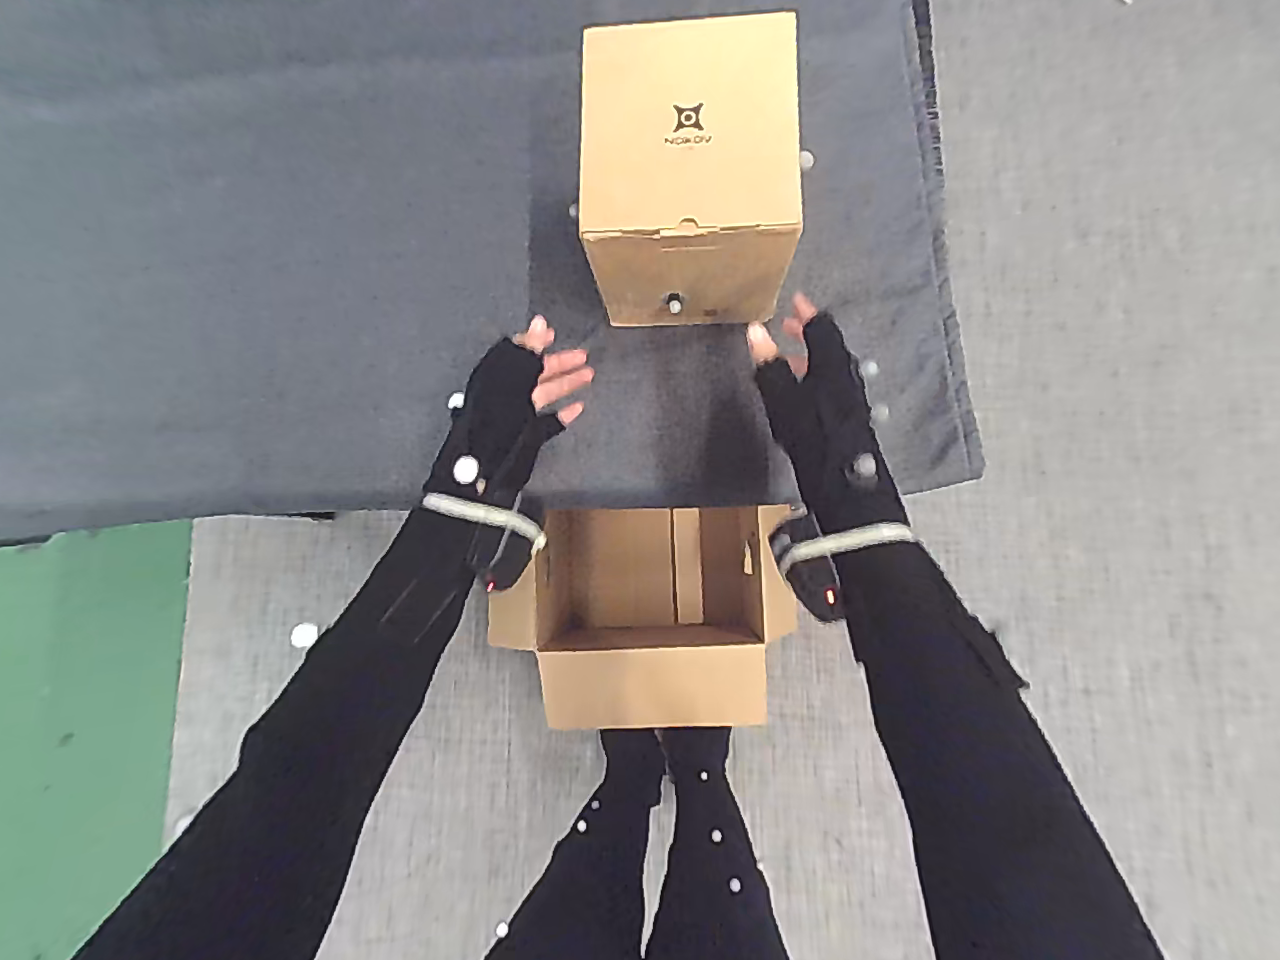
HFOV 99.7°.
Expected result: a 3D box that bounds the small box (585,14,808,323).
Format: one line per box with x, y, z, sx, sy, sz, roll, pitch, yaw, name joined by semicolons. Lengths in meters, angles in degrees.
0.047;-0.259;0.485;0.168;0.176;0.179;-1;83;5;small box
